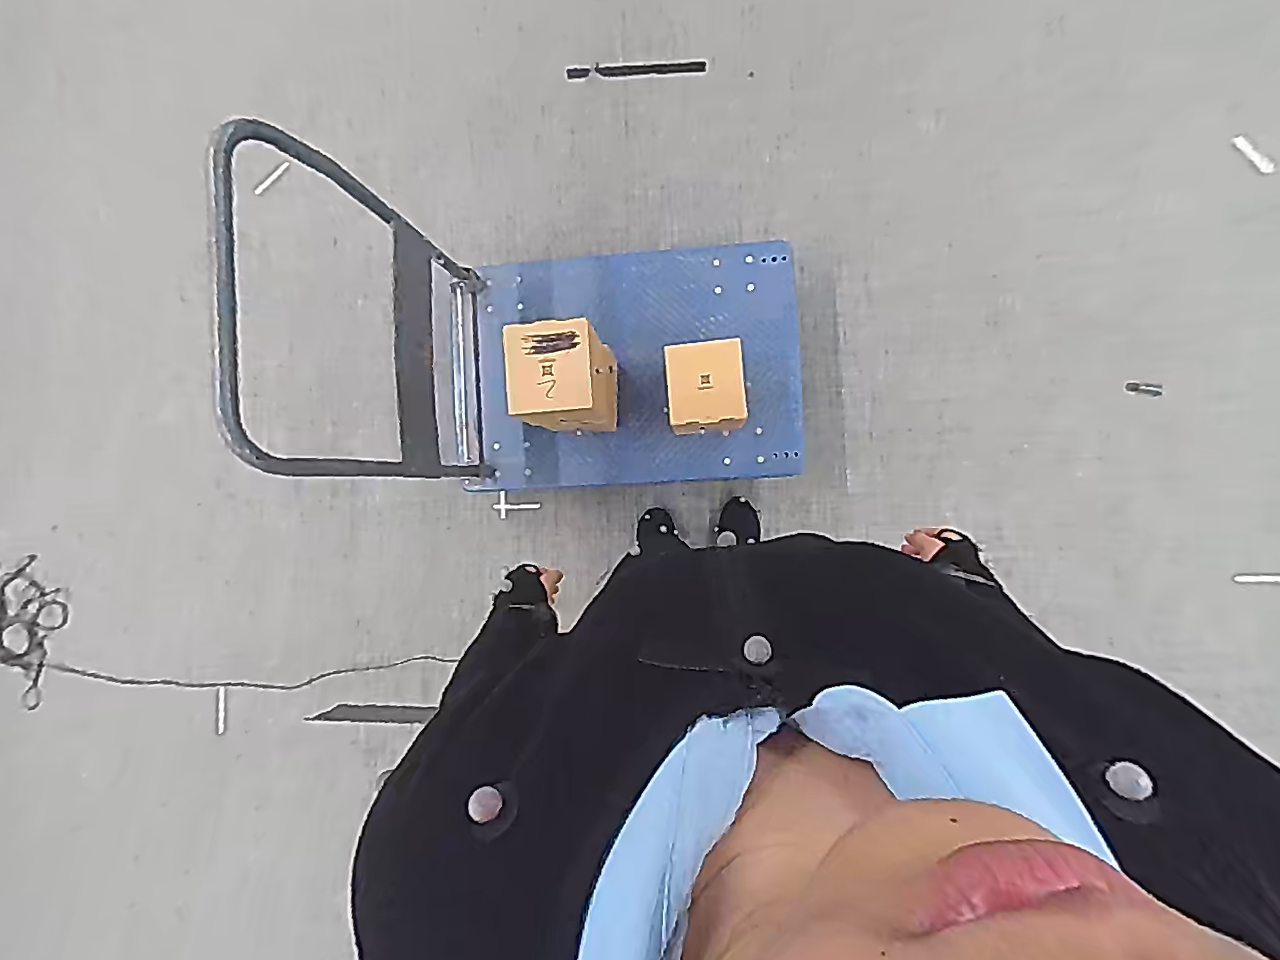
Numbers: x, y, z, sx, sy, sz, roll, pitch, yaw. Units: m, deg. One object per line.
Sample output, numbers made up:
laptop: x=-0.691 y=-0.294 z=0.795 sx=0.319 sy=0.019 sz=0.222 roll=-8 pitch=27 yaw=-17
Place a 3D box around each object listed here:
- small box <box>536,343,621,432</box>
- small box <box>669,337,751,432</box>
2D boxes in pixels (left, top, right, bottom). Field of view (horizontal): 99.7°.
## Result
small box: x=-0.138 y=-0.211 z=1.262 sx=0.168 sy=0.176 sz=0.179 roll=1 pitch=89 yaw=6
small box: x=0.156 y=-0.211 z=1.237 sx=0.168 sy=0.176 sz=0.179 roll=-6 pitch=88 yaw=5
